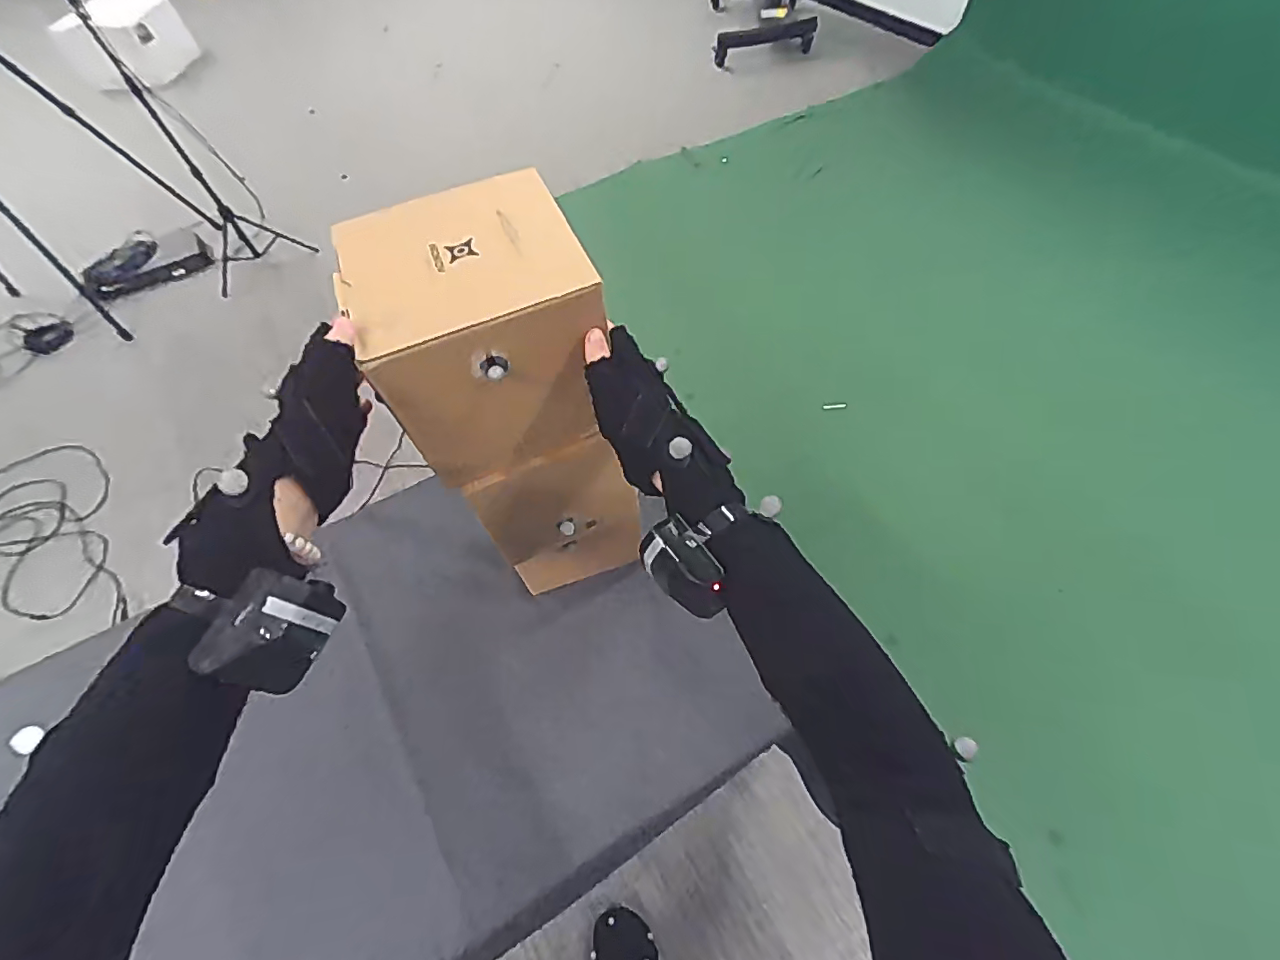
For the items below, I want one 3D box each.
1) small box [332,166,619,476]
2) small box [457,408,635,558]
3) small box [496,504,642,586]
[{"bbox_3d":[-0.131,-0.128,0.469,0.179,0.176,0.168,-21,60,-8],"label":"small box"},{"bbox_3d":[-0.115,-0.043,0.607,0.168,0.176,0.179,-23,60,-9],"label":"small box"},{"bbox_3d":[-0.105,0.028,0.757,0.179,0.176,0.168,-17,59,-7],"label":"small box"}]
